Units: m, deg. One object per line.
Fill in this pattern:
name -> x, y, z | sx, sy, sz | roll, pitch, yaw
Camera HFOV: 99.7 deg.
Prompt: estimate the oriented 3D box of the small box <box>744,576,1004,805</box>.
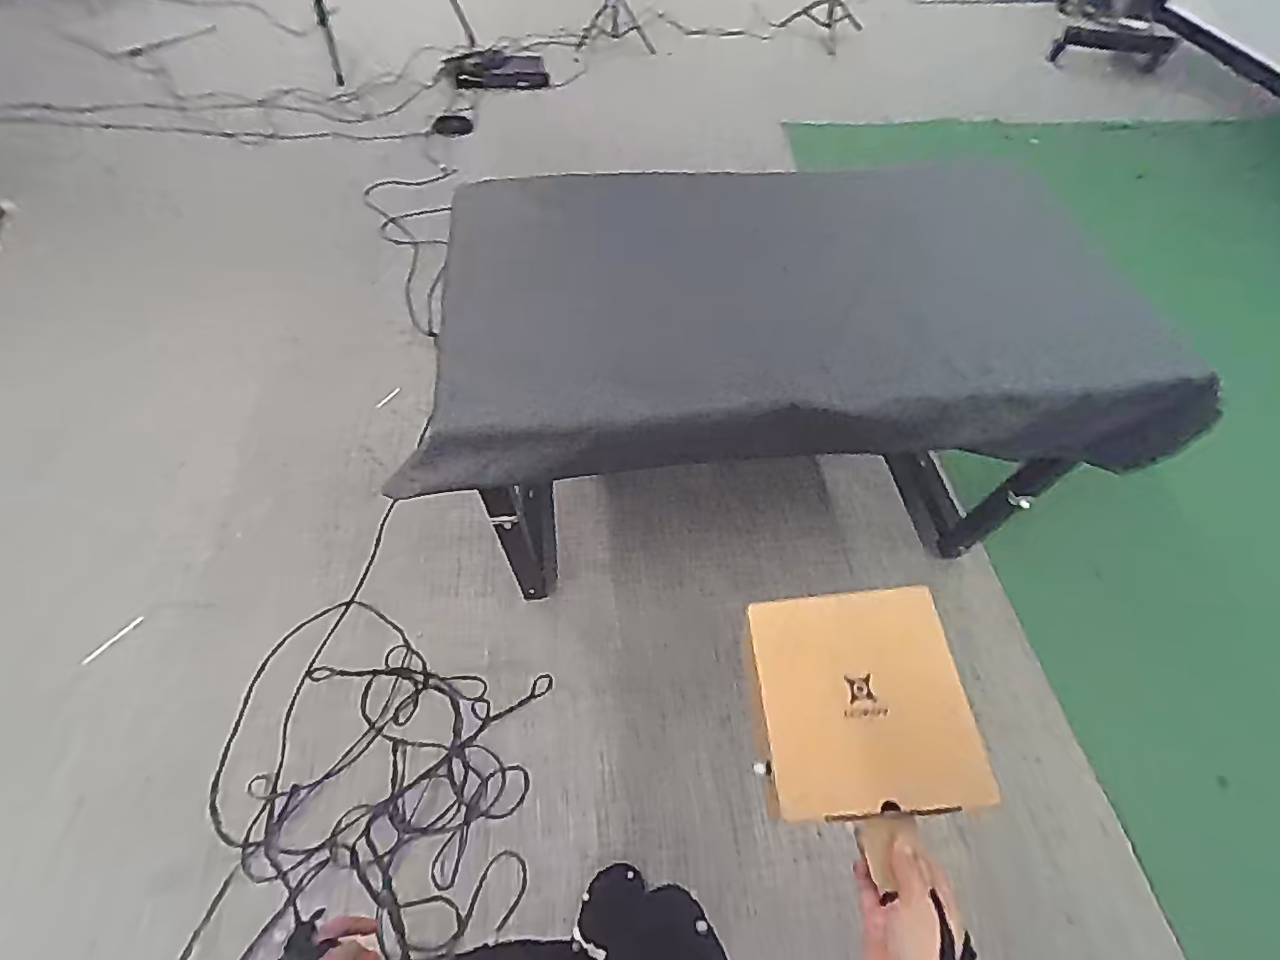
small box -> 0.199, 0.210, 0.526 | 0.168, 0.176, 0.179 | -6, 60, 3
